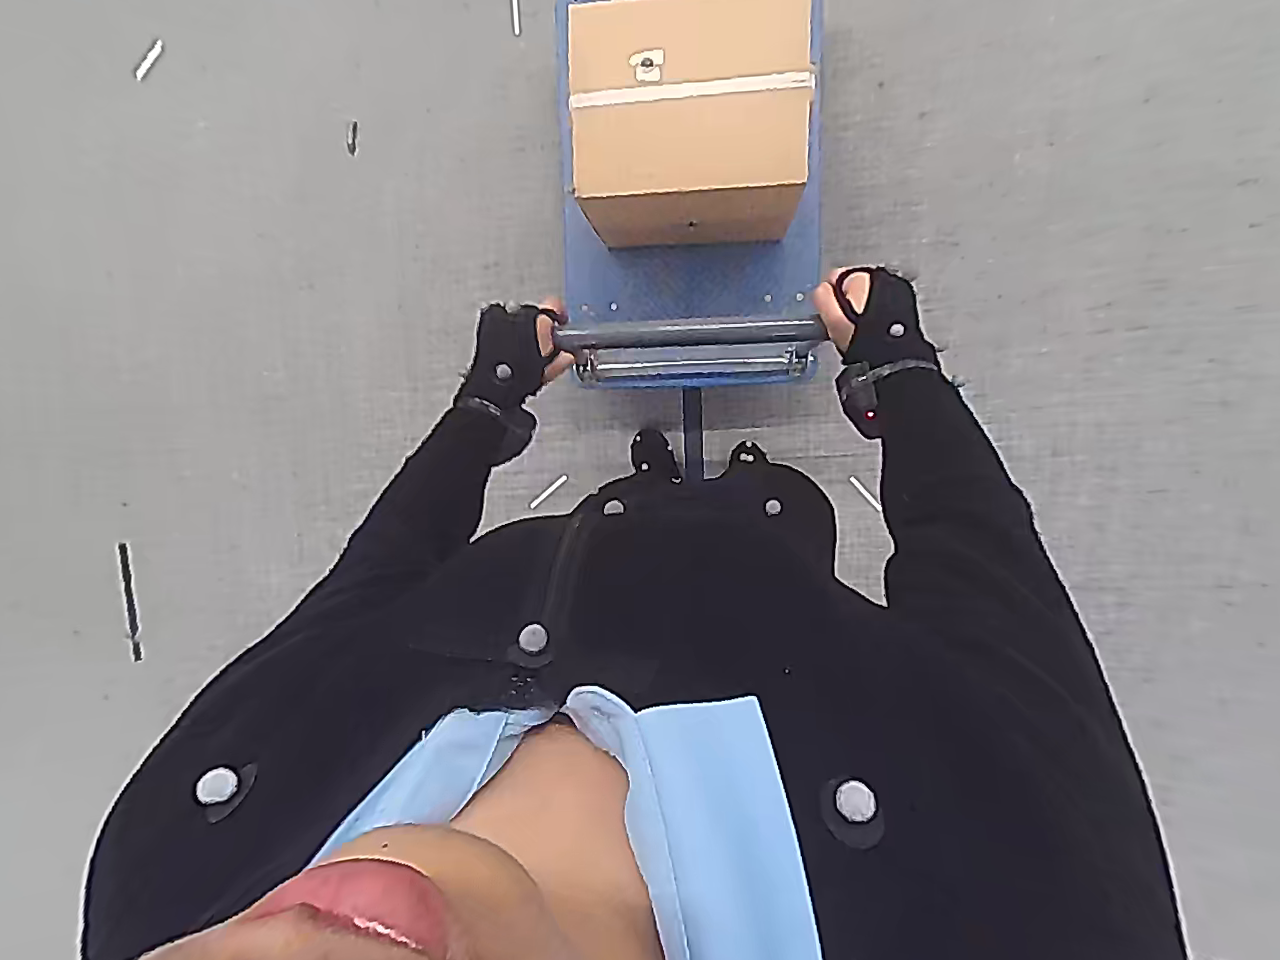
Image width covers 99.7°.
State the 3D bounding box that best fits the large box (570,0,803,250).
[{"bbox_3d":[0.099,-0.675,1.085,0.408,0.320,0.320,0,96,8],"label":"large box"}]
